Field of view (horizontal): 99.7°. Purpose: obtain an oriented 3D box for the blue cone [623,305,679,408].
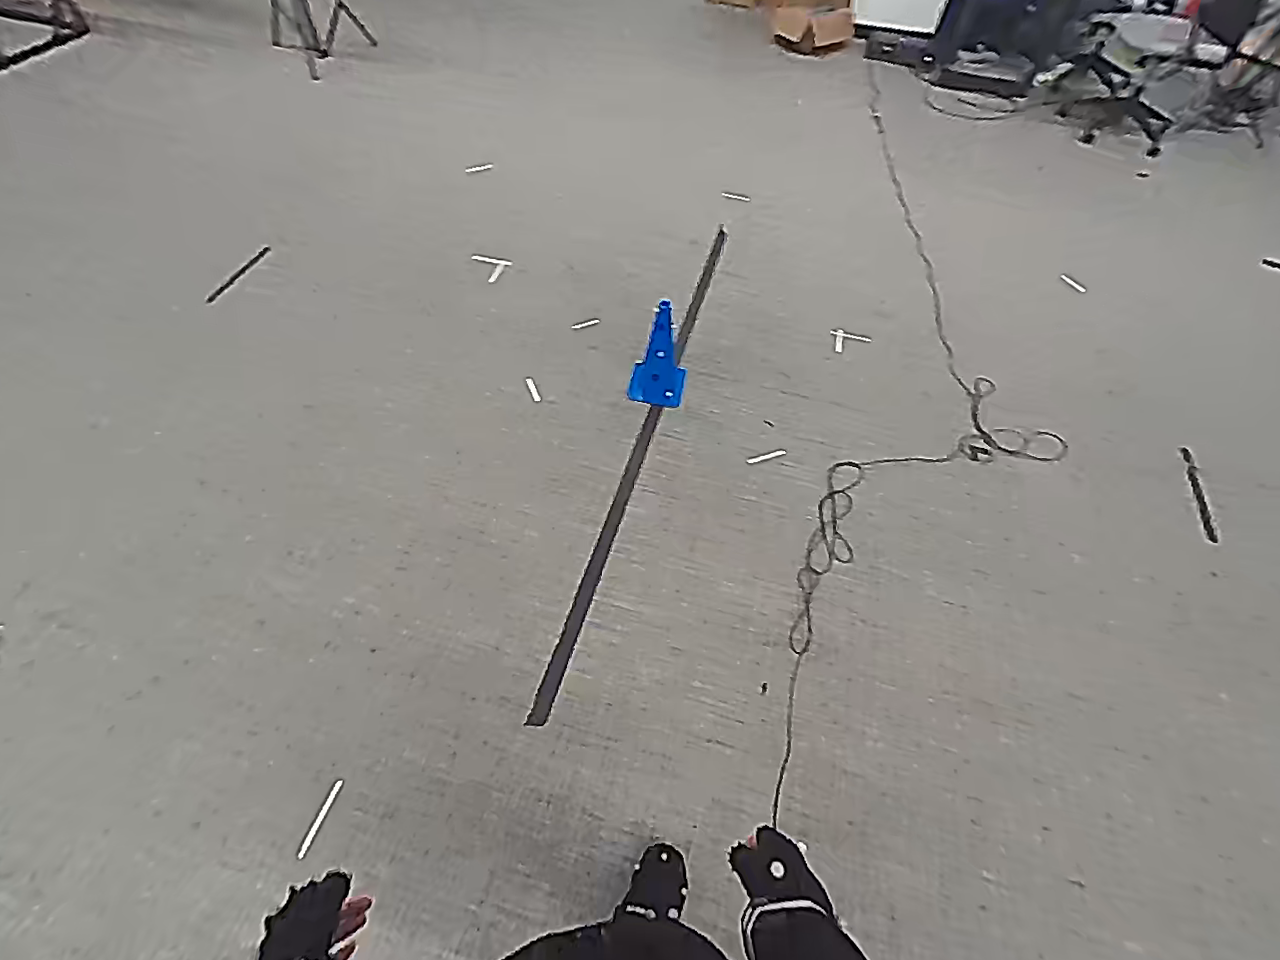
[{"bbox_3d":[0.050,-0.436,1.865,0.192,0.380,0.193,12,55,6],"label":"blue cone"}]
